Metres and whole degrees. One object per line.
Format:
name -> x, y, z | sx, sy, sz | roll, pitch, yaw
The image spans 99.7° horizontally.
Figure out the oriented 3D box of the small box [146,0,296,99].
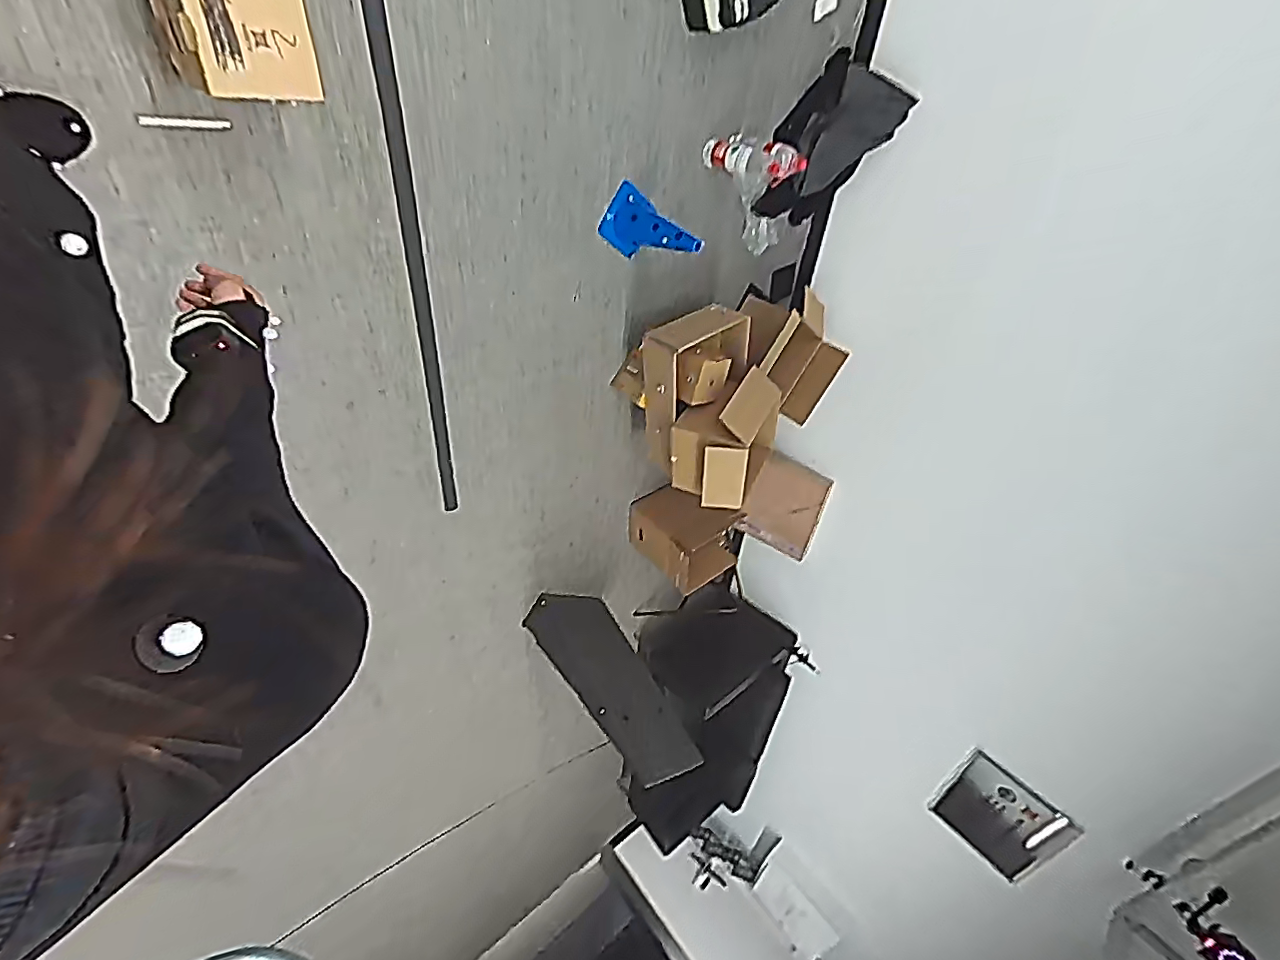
small box -> -0.792, -0.833, 1.023 | 0.179, 0.176, 0.168 | -25, 137, -31
